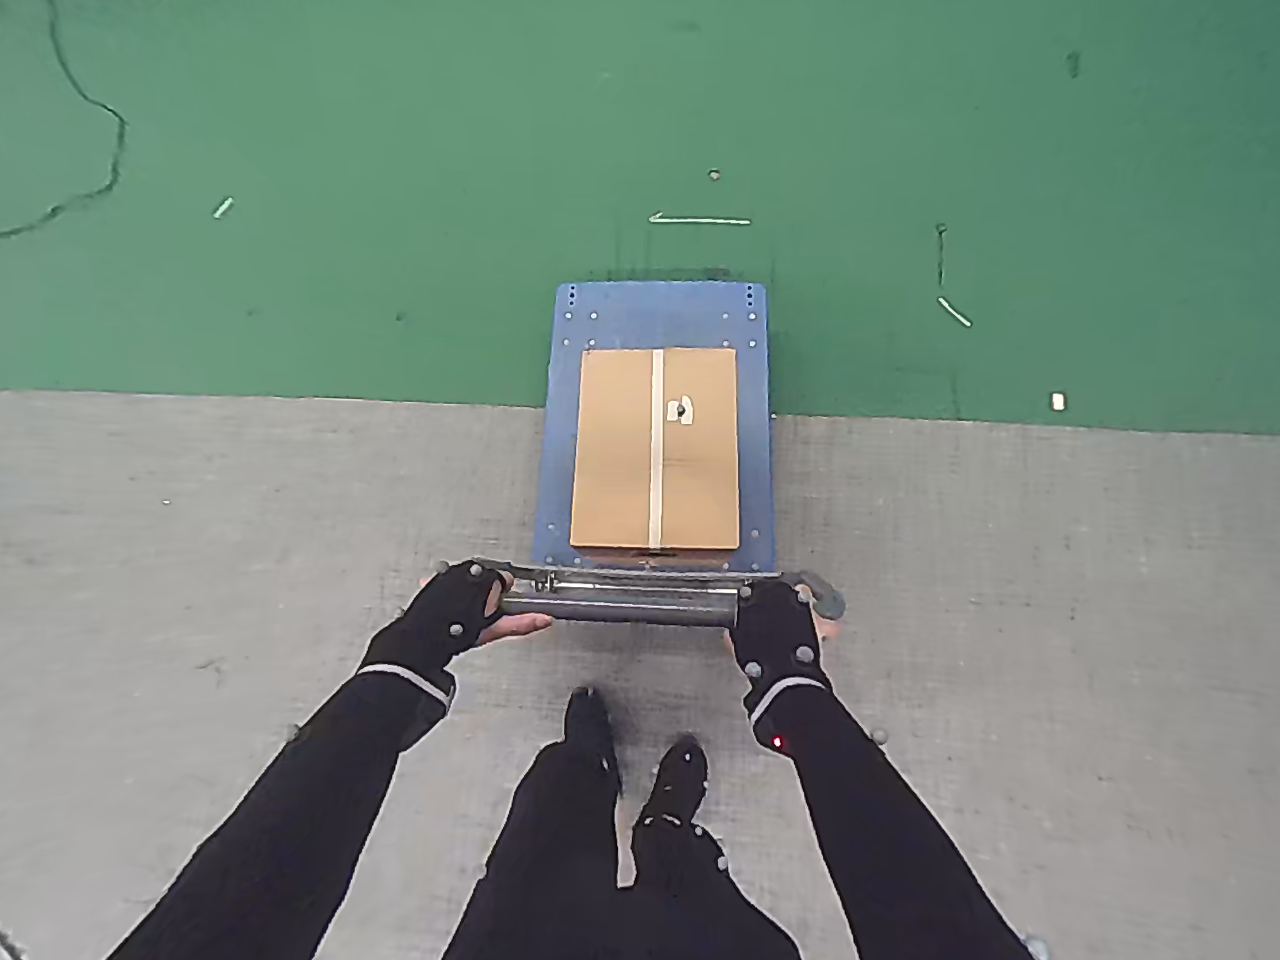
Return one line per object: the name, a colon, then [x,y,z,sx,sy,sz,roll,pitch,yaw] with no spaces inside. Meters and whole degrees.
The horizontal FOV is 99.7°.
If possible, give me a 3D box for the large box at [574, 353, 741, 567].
large box: [0.045,-0.025,1.191,0.320,0.320,0.408,1,74,3]
